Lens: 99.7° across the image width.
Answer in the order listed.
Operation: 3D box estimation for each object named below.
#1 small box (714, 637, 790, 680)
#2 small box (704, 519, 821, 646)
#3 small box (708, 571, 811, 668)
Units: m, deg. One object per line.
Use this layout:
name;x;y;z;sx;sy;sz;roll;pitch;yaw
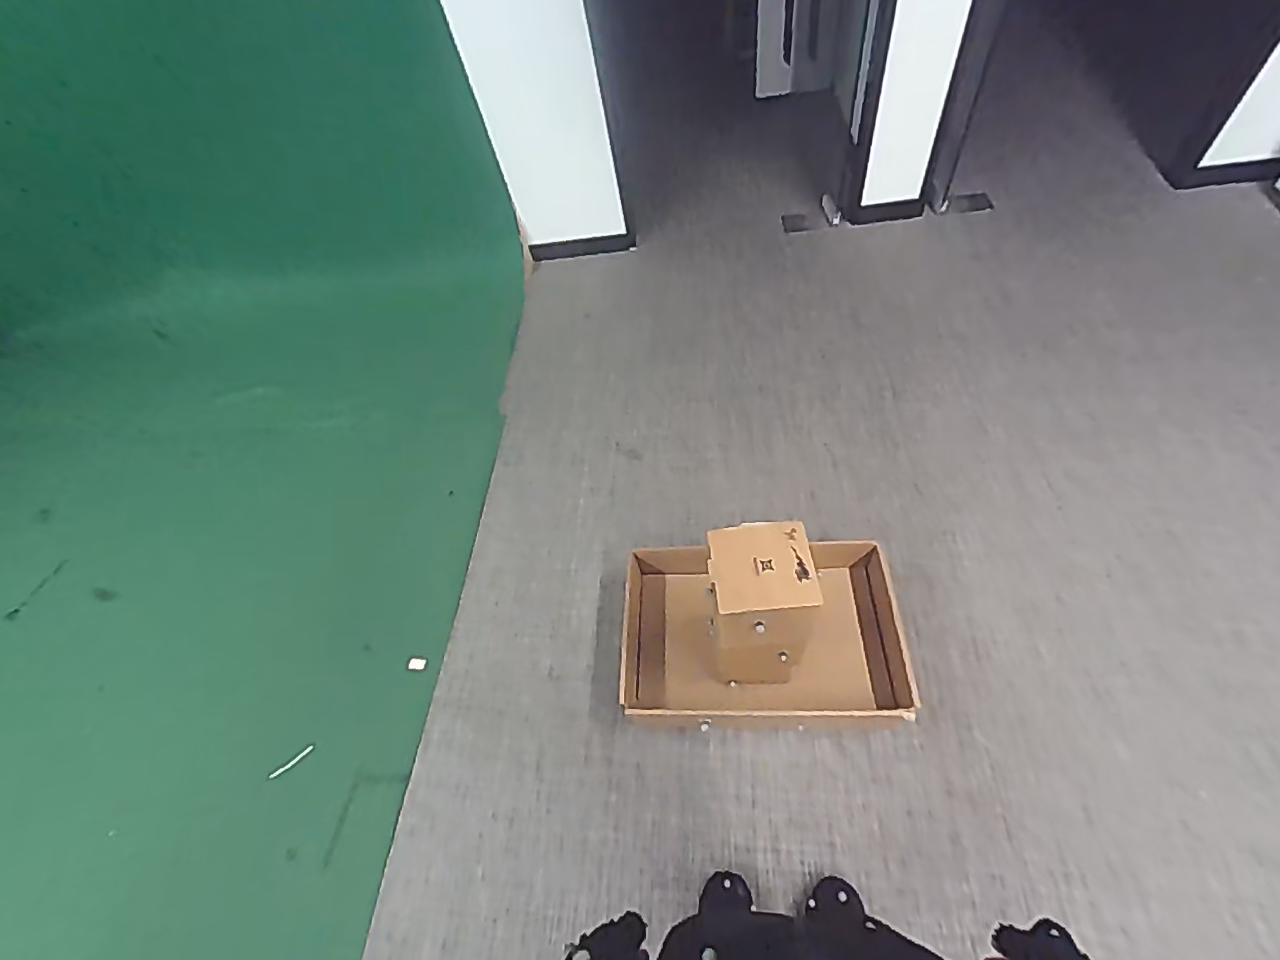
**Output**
small box;0.261;0.368;1.281;0.168;0.176;0.179;-3;55;8
small box;0.221;0.197;1.010;0.179;0.176;0.168;-9;52;3
small box;0.240;0.281;1.127;0.179;0.176;0.168;-8;54;4
